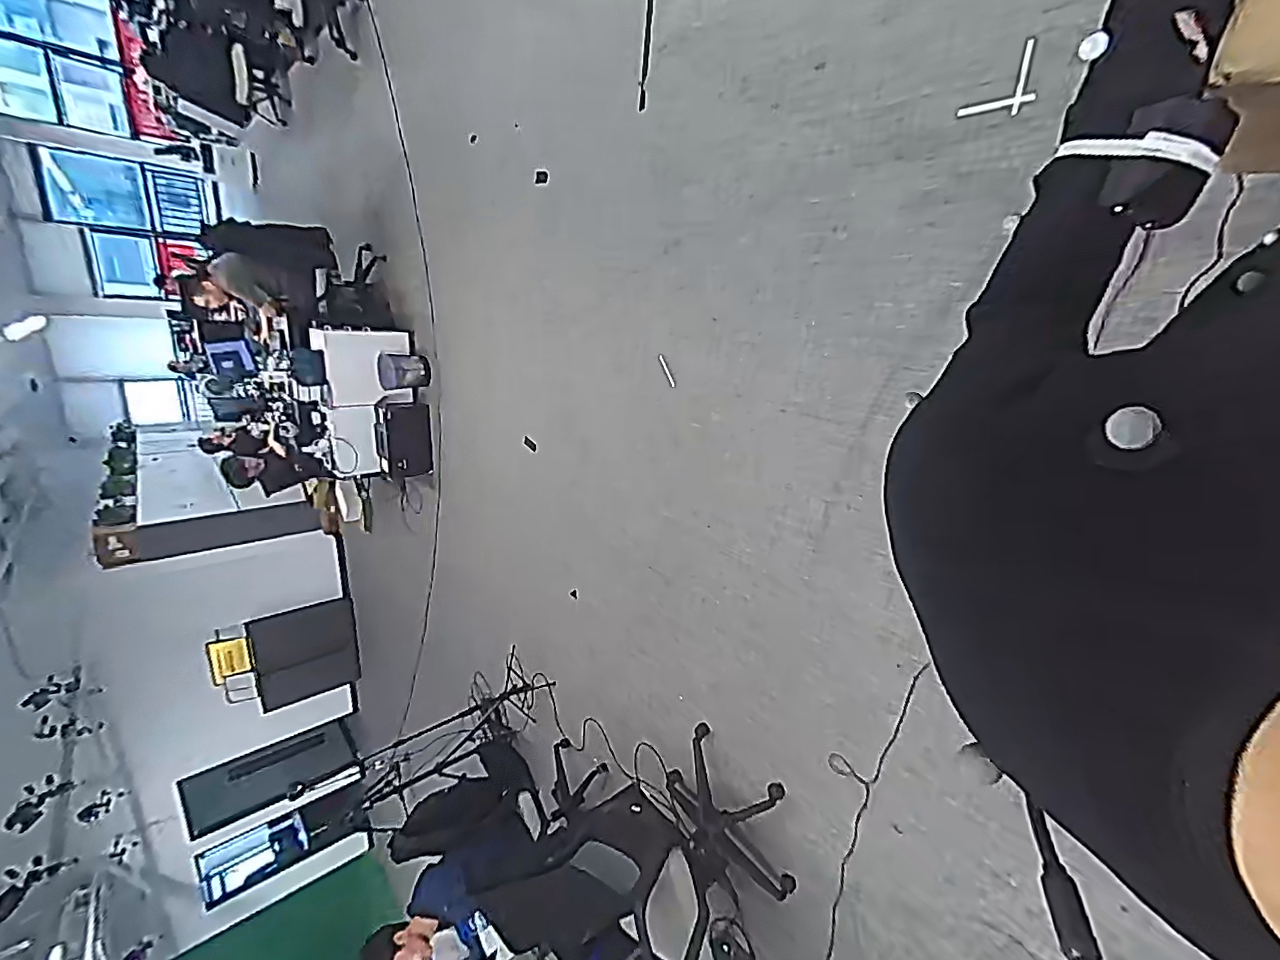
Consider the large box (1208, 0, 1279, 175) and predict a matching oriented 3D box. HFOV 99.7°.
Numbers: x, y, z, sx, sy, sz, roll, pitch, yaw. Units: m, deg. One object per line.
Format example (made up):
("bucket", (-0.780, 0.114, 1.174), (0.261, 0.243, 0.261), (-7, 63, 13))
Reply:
("large box", (0.624, -0.367, 0.271), (0.408, 0.320, 0.320), (25, 119, 42))
